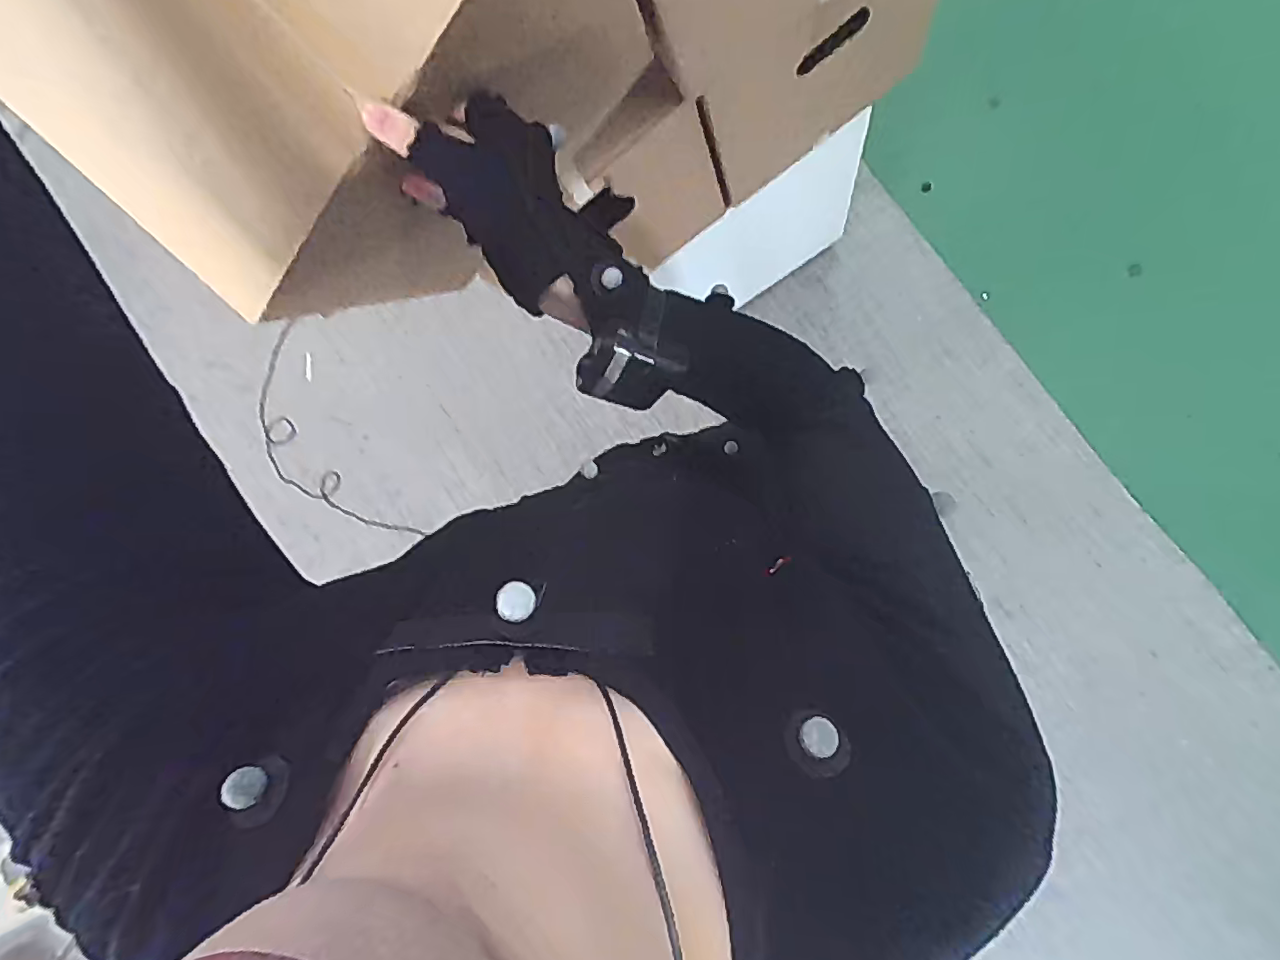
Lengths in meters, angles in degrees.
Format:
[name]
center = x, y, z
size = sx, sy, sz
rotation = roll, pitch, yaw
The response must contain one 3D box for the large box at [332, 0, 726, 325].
[large box]
center = -0.128, -0.498, 0.772
size = 0.320, 0.320, 0.408
rotation = -33, 83, 16
